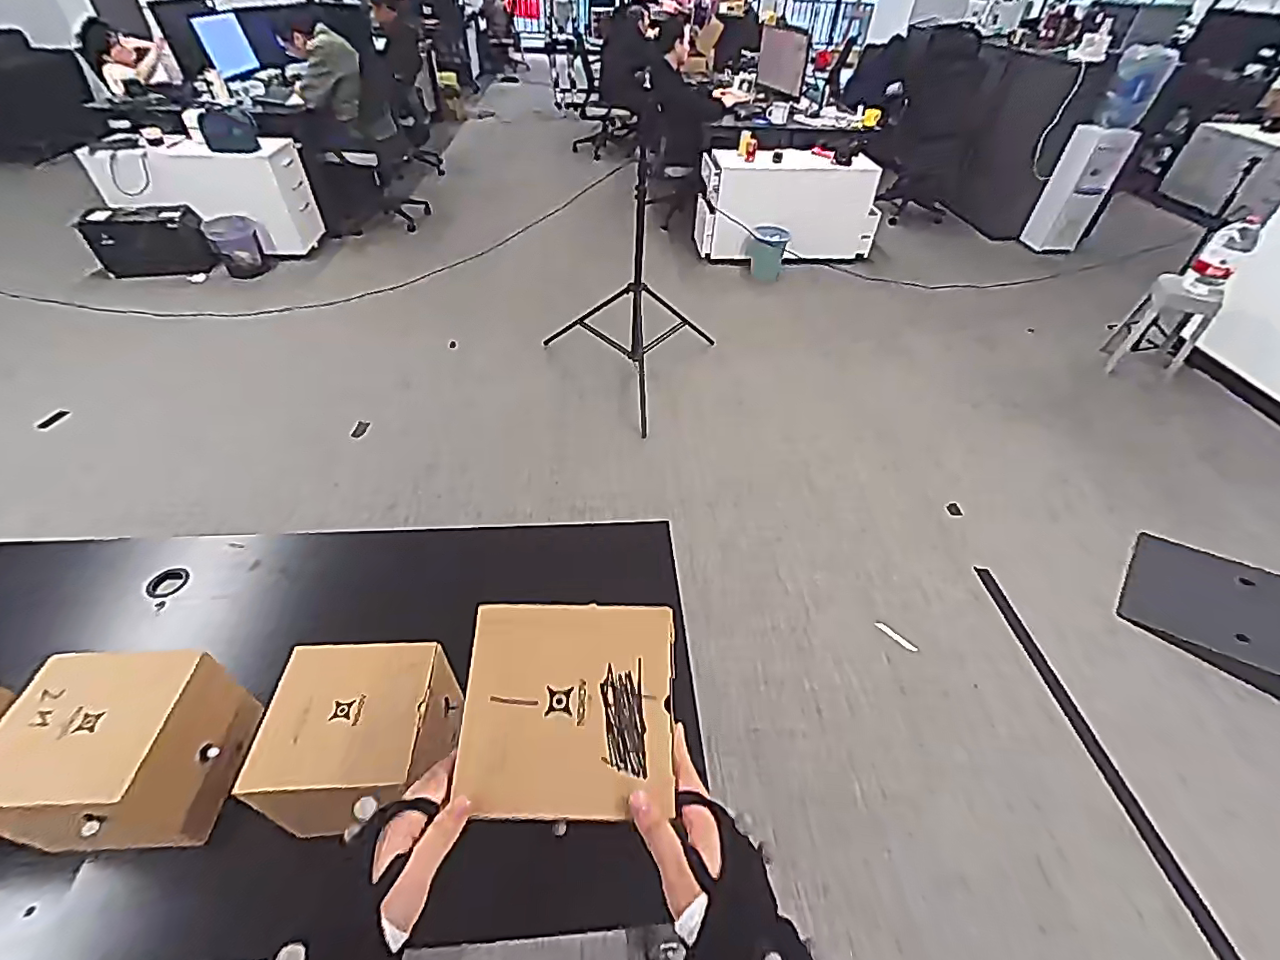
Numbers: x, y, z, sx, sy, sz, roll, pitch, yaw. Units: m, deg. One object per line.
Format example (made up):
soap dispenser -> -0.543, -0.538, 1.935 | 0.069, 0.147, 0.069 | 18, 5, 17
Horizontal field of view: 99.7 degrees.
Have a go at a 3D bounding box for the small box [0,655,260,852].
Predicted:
small box -> -0.604, 0.326, 0.645 | 0.179, 0.176, 0.168 | -1, 44, -3

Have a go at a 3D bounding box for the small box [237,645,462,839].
small box -> -0.331, 0.322, 0.665 | 0.179, 0.176, 0.168 | -2, 43, -4
